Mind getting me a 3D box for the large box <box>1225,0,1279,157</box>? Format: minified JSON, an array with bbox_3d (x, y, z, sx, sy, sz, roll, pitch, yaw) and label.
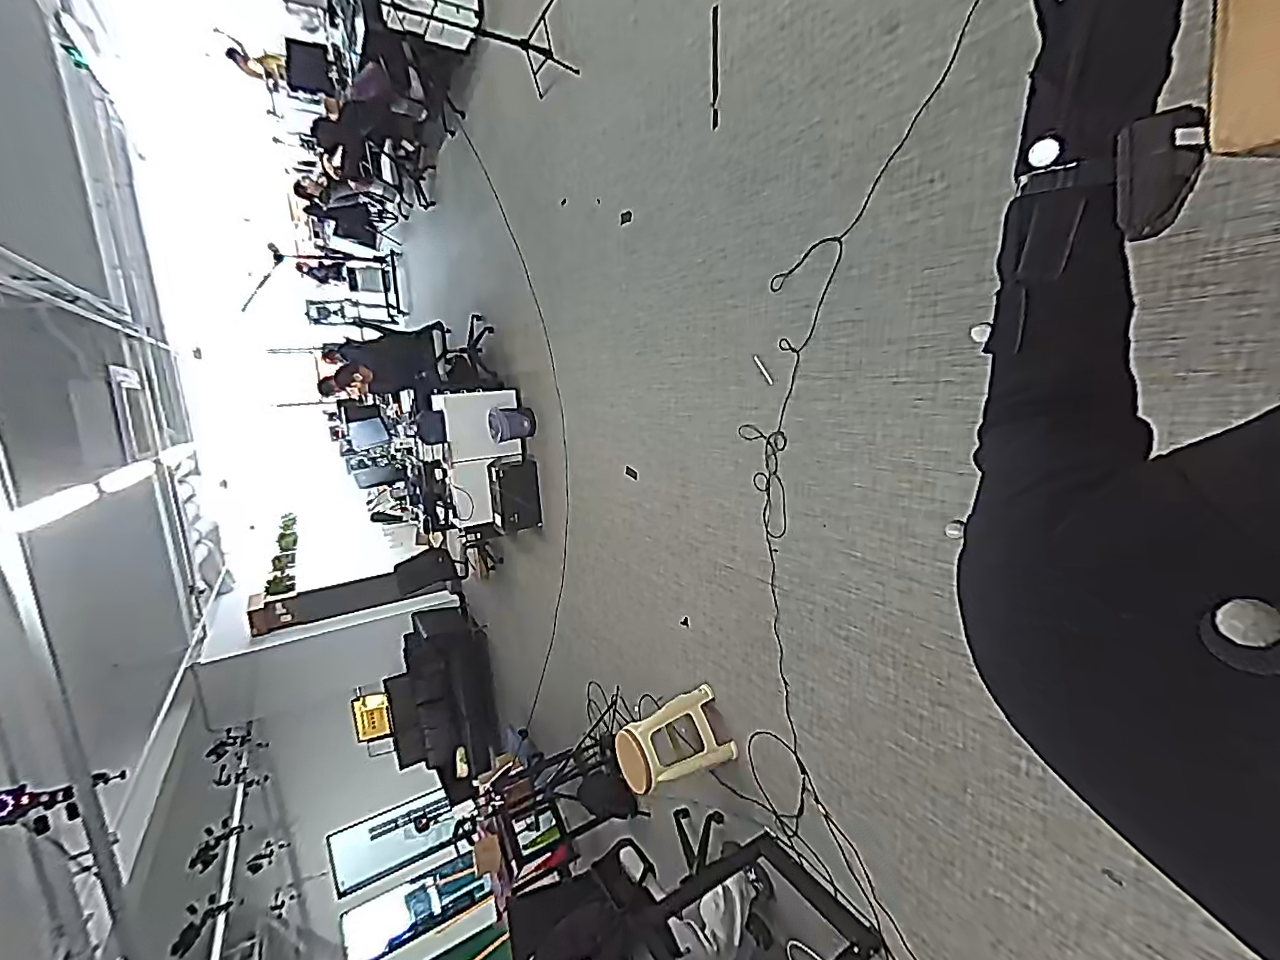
[{"bbox_3d":[0.527,-0.354,0.184,0.408,0.320,0.320,9,115,56],"label":"large box"}]
